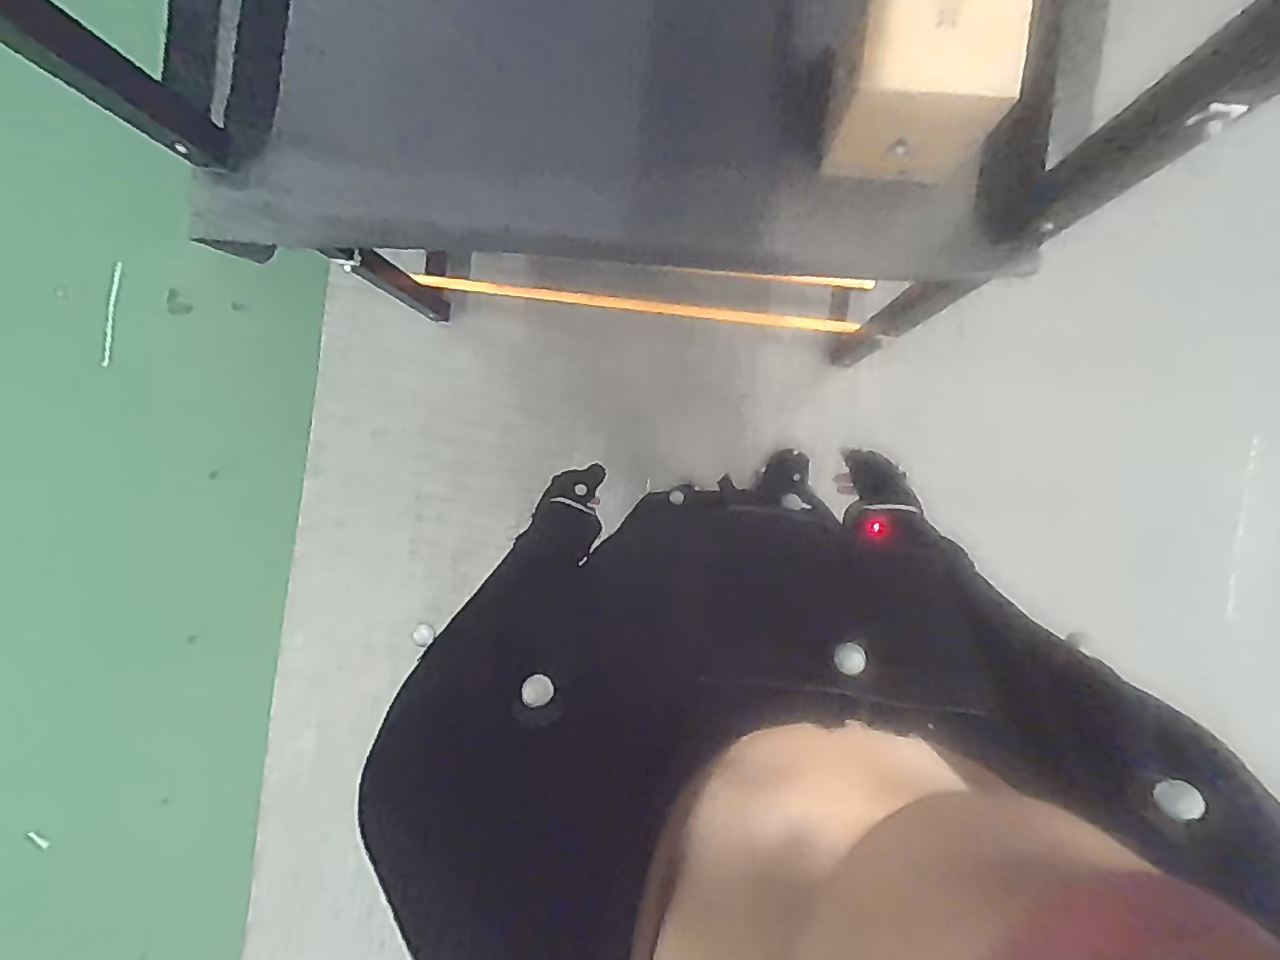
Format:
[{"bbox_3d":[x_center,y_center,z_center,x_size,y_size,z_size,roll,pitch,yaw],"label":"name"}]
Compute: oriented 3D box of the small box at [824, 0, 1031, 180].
[{"bbox_3d":[0.331,-0.493,0.651,0.168,0.176,0.179,7,90,4],"label":"small box"}]
